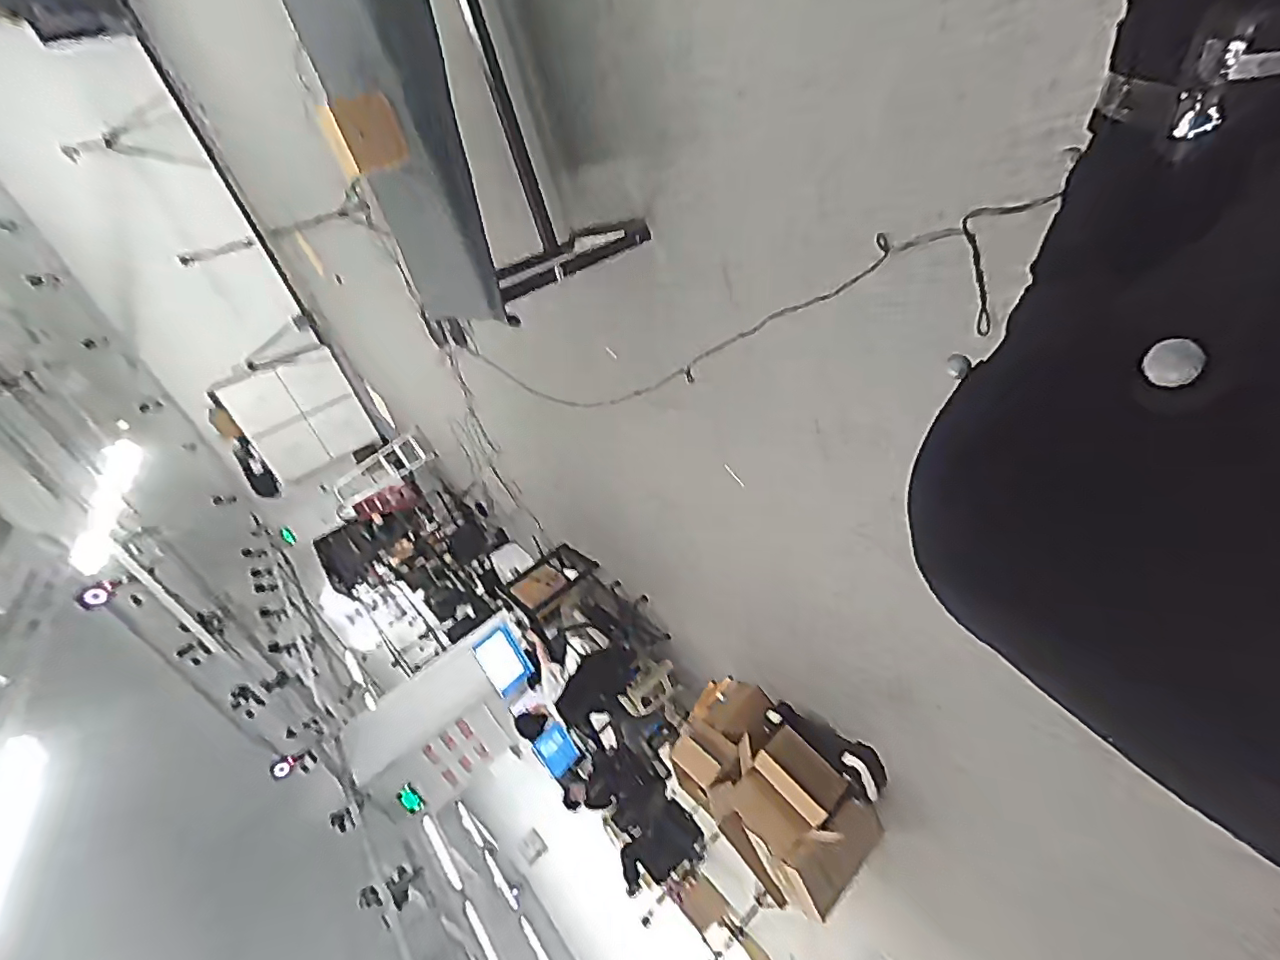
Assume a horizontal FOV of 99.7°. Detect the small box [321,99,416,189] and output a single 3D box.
[{"bbox_3d":[-0.782,-0.972,1.569,0.168,0.176,0.179,21,137,47],"label":"small box"}]
